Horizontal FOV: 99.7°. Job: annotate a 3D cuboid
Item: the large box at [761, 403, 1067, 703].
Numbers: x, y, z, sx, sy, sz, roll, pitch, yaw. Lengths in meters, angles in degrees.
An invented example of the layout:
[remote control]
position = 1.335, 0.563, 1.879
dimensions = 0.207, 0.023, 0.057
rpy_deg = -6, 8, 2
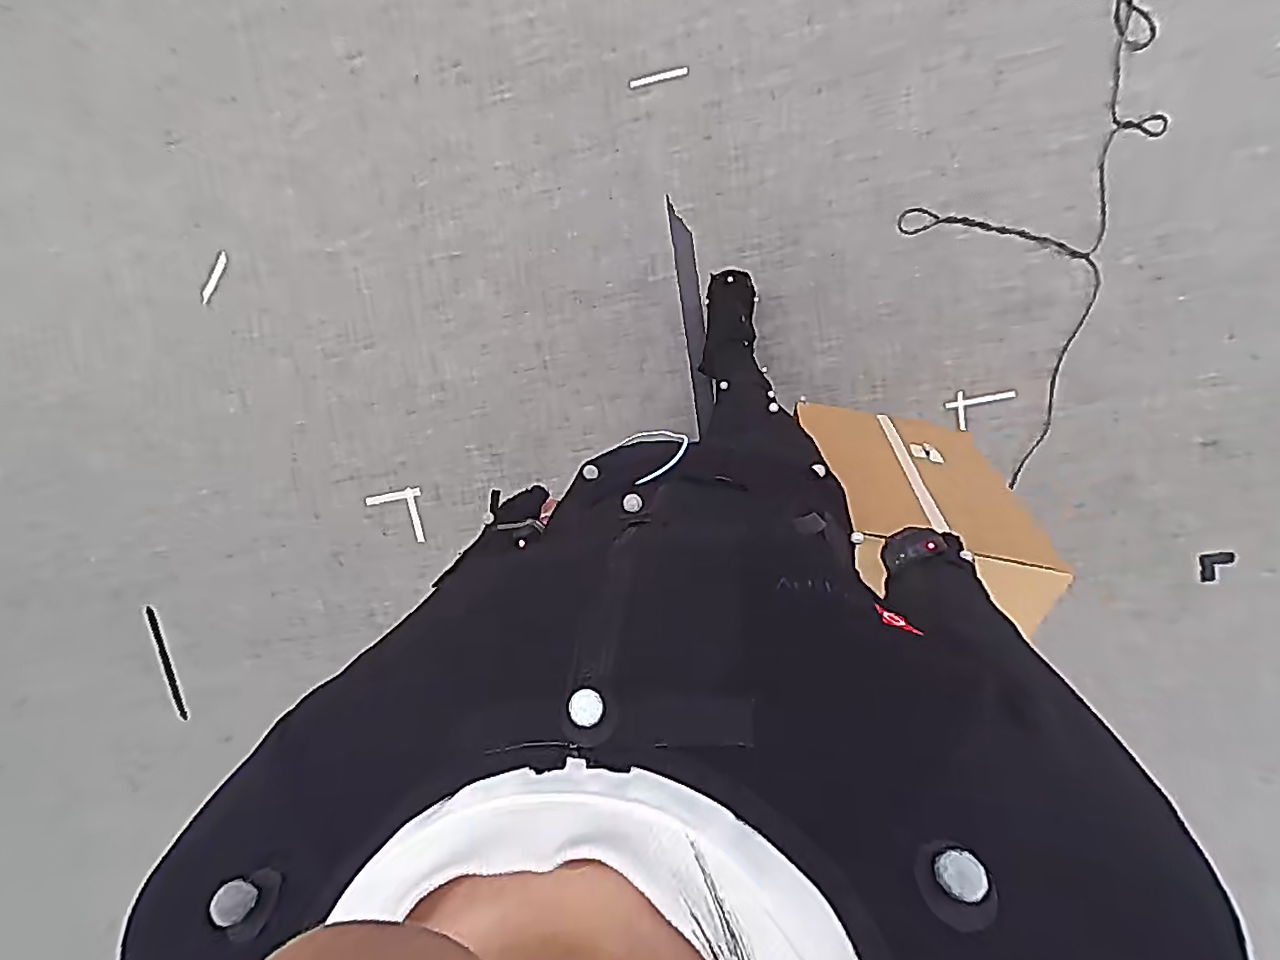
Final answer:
[large box]
position = 0.402, 0.103, 0.934
dimensions = 0.320, 0.408, 0.320
rpy_deg = 11, 121, 3
